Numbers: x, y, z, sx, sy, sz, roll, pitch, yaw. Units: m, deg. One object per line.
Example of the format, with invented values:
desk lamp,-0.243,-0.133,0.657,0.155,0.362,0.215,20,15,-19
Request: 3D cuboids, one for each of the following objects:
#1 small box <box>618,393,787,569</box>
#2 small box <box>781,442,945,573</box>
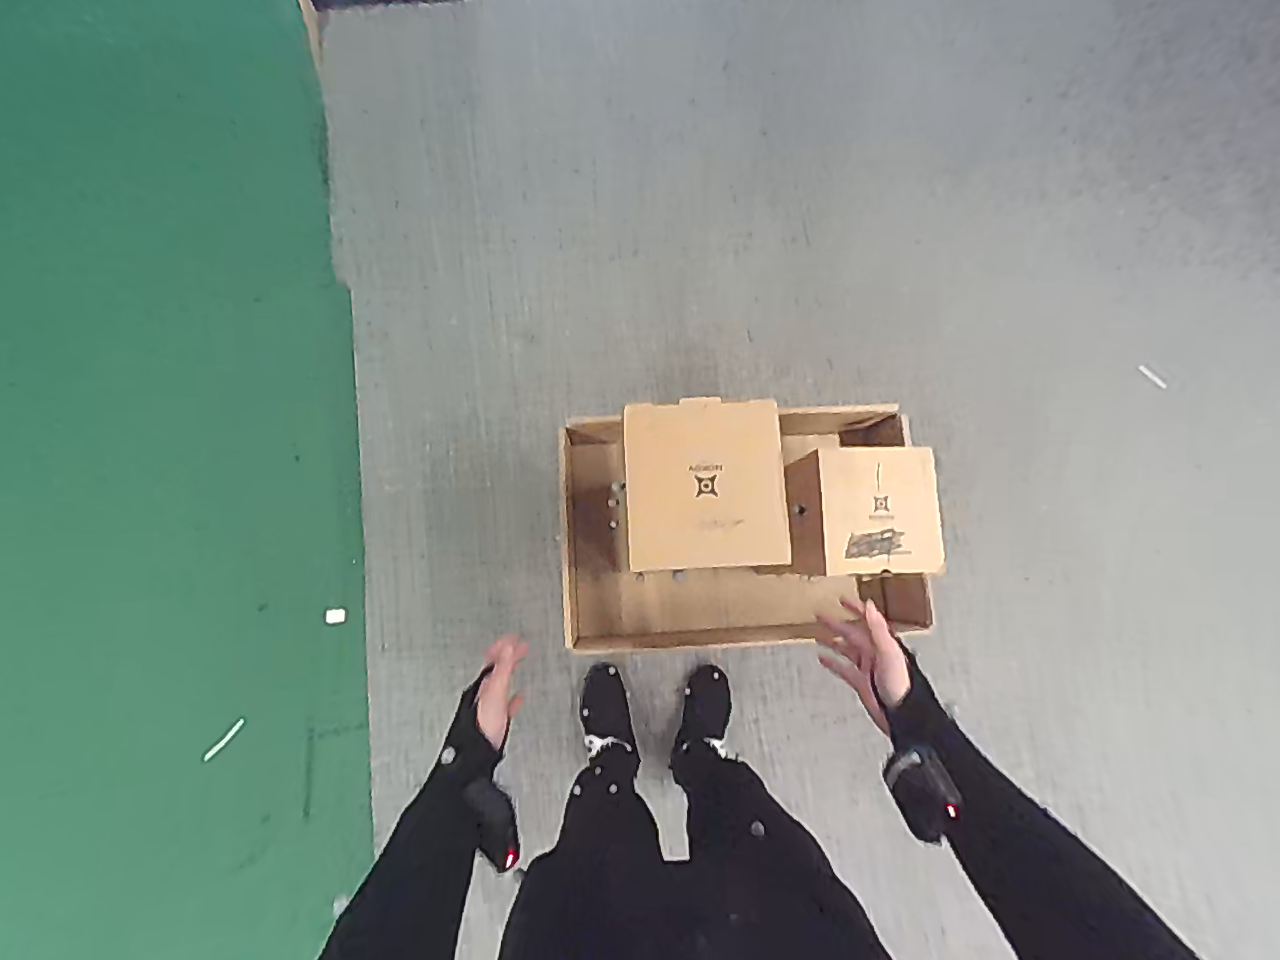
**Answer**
small box,0.059,0.010,0.626,0.168,0.176,0.179,-2,80,-2
small box,0.316,0.046,0.799,0.168,0.176,0.179,-1,80,-3
